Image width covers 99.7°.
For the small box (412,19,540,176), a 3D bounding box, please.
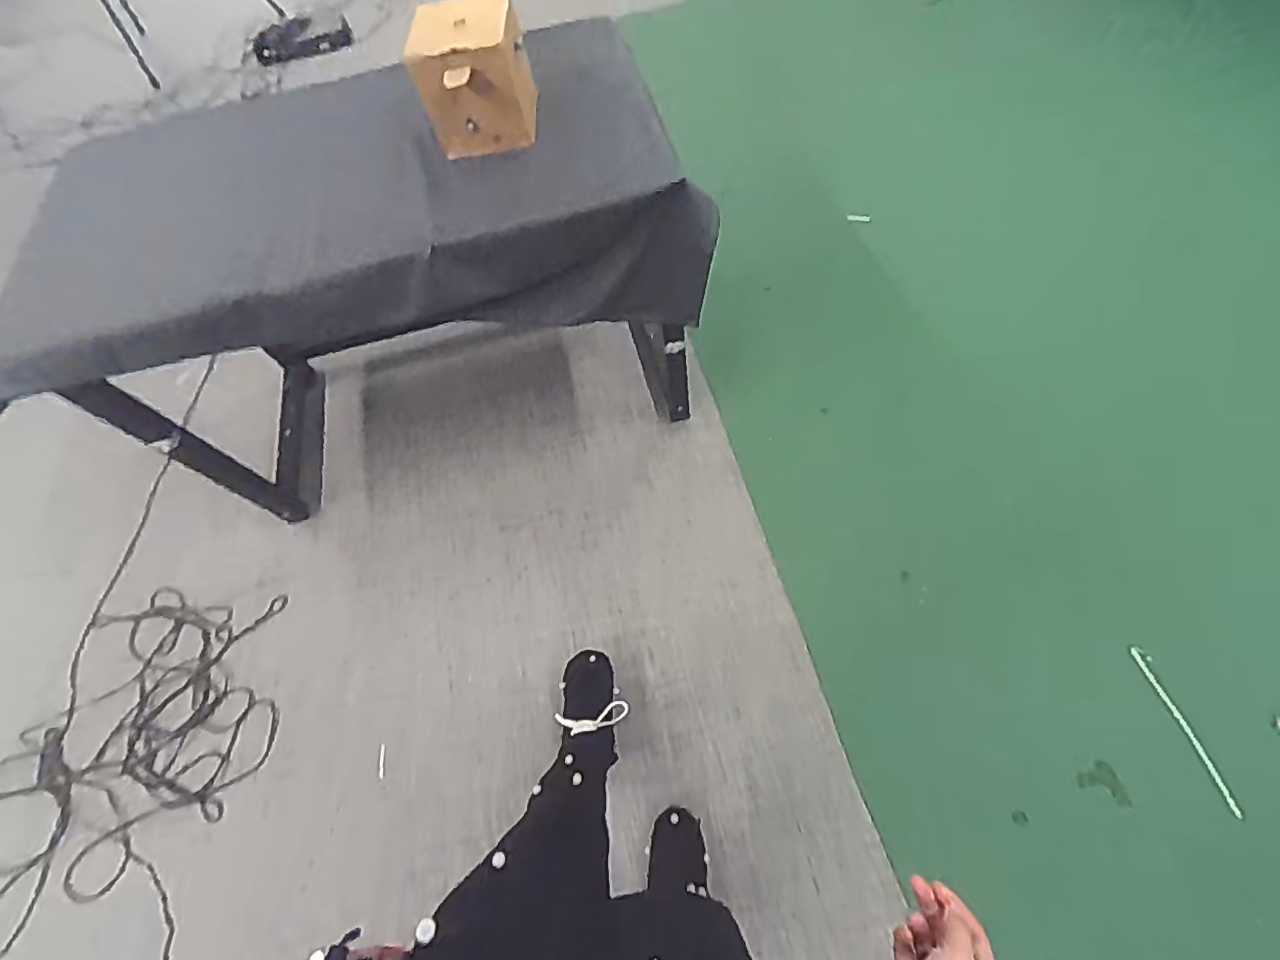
[{"bbox_3d":[-0.285,-0.687,0.981,0.168,0.176,0.179,-6,61,4],"label":"small box"}]
